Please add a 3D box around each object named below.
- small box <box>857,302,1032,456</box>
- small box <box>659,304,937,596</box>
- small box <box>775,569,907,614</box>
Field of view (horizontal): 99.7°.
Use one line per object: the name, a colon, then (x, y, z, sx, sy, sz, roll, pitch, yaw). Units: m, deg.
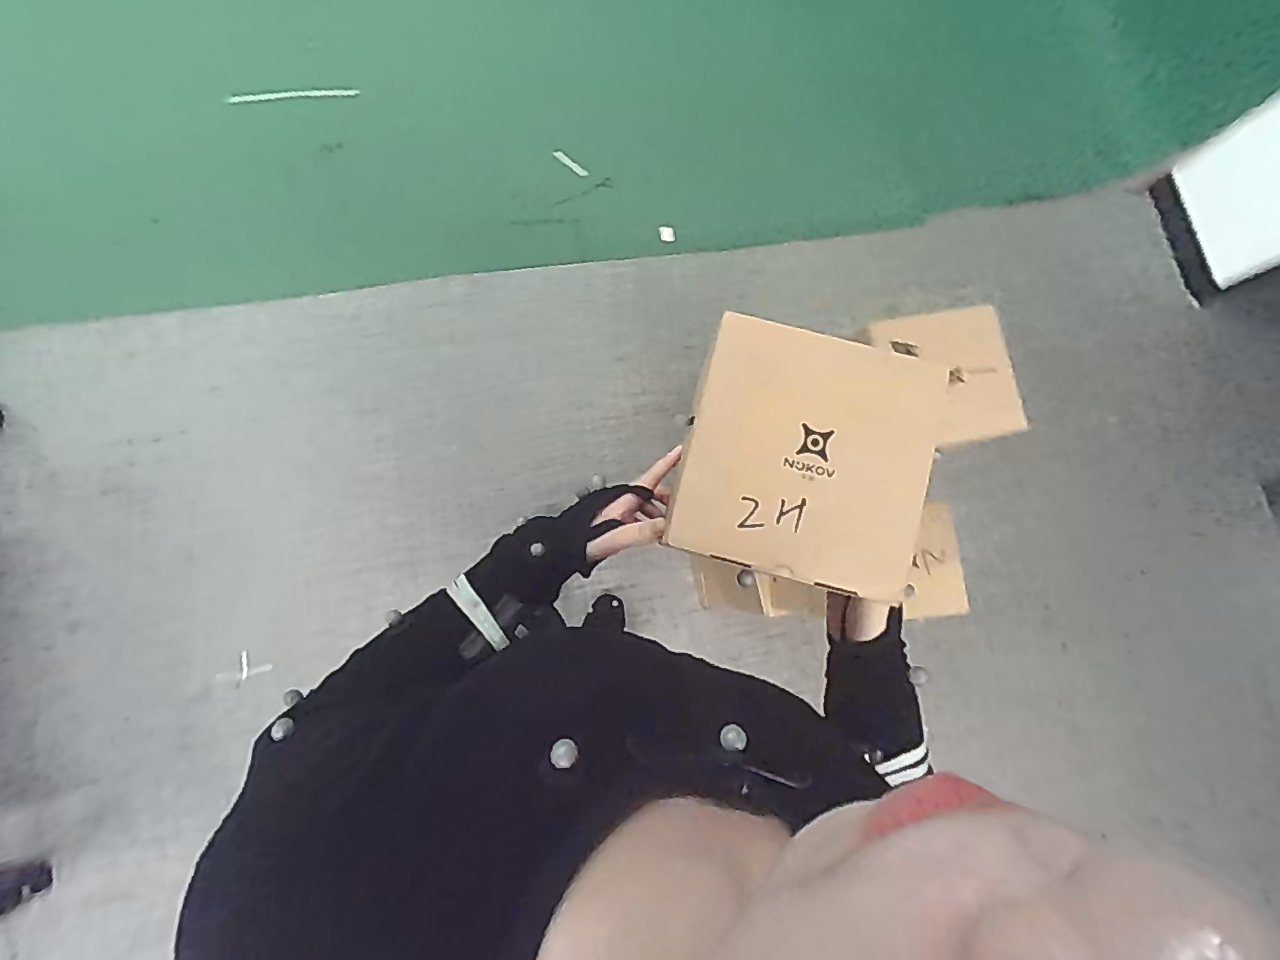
small box: (0.370, -0.118, 0.735, 0.179, 0.176, 0.168, -11, 84, -9)
small box: (0.111, -0.015, 0.451, 0.168, 0.176, 0.179, 13, 84, 2)
small box: (0.365, 0.159, 1.020, 0.179, 0.176, 0.168, -4, 79, -7)
